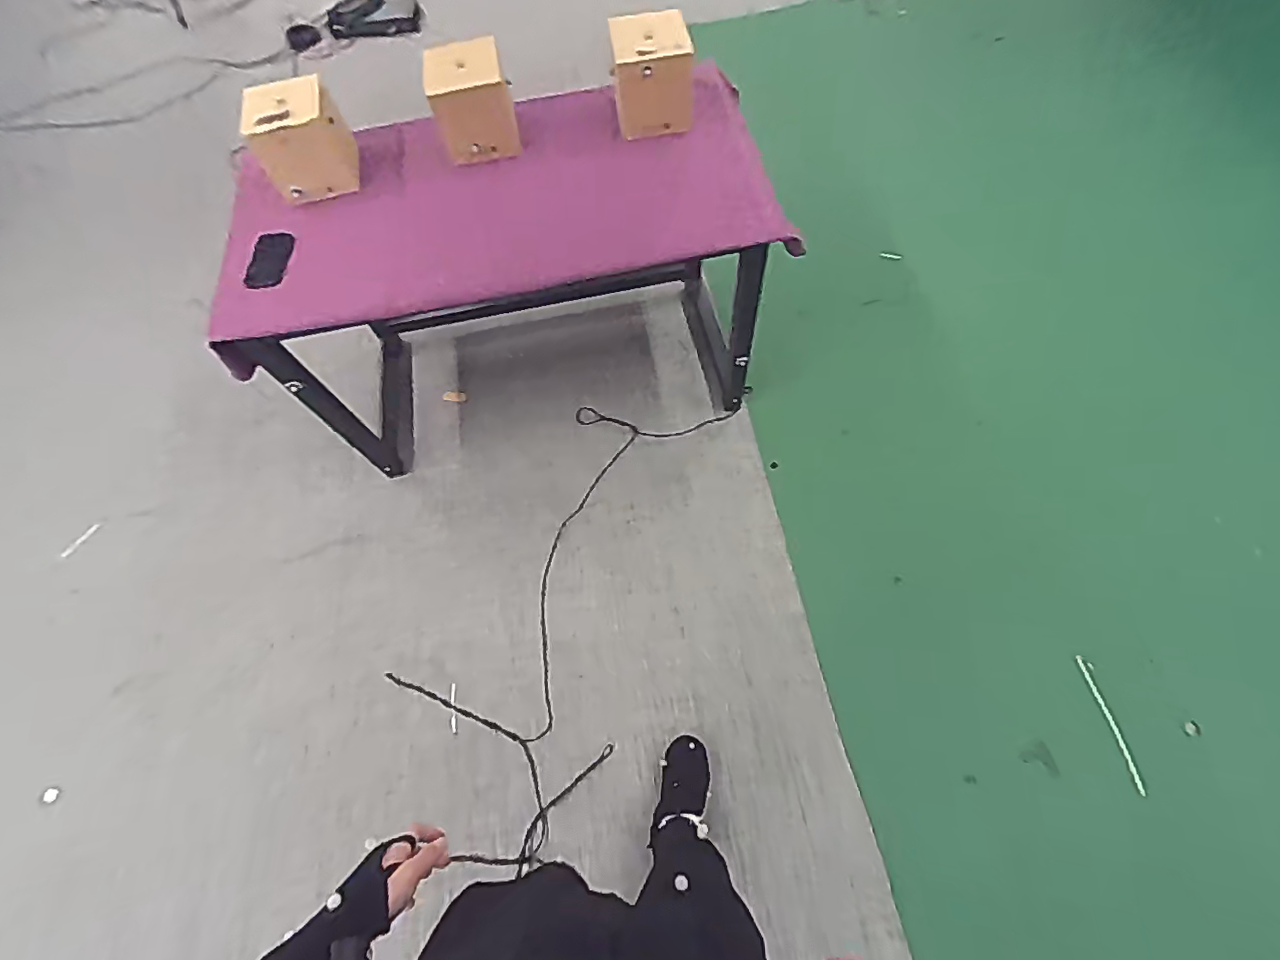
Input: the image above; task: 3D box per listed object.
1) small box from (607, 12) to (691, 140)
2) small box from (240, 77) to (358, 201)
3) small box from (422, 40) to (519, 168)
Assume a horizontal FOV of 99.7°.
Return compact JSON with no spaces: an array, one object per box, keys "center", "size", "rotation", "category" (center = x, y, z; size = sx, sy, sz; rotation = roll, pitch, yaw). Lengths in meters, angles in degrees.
[{"center":[0.022,-0.921,1.240],"size":[0.168,0.176,0.179],"rotation":[-9,64,1],"category":"small box"},{"center":[-0.761,-0.761,1.224],"size":[0.168,0.176,0.179],"rotation":[-14,64,-3],"category":"small box"},{"center":[-0.386,-0.861,1.244],"size":[0.168,0.176,0.179],"rotation":[-12,65,0],"category":"small box"}]
